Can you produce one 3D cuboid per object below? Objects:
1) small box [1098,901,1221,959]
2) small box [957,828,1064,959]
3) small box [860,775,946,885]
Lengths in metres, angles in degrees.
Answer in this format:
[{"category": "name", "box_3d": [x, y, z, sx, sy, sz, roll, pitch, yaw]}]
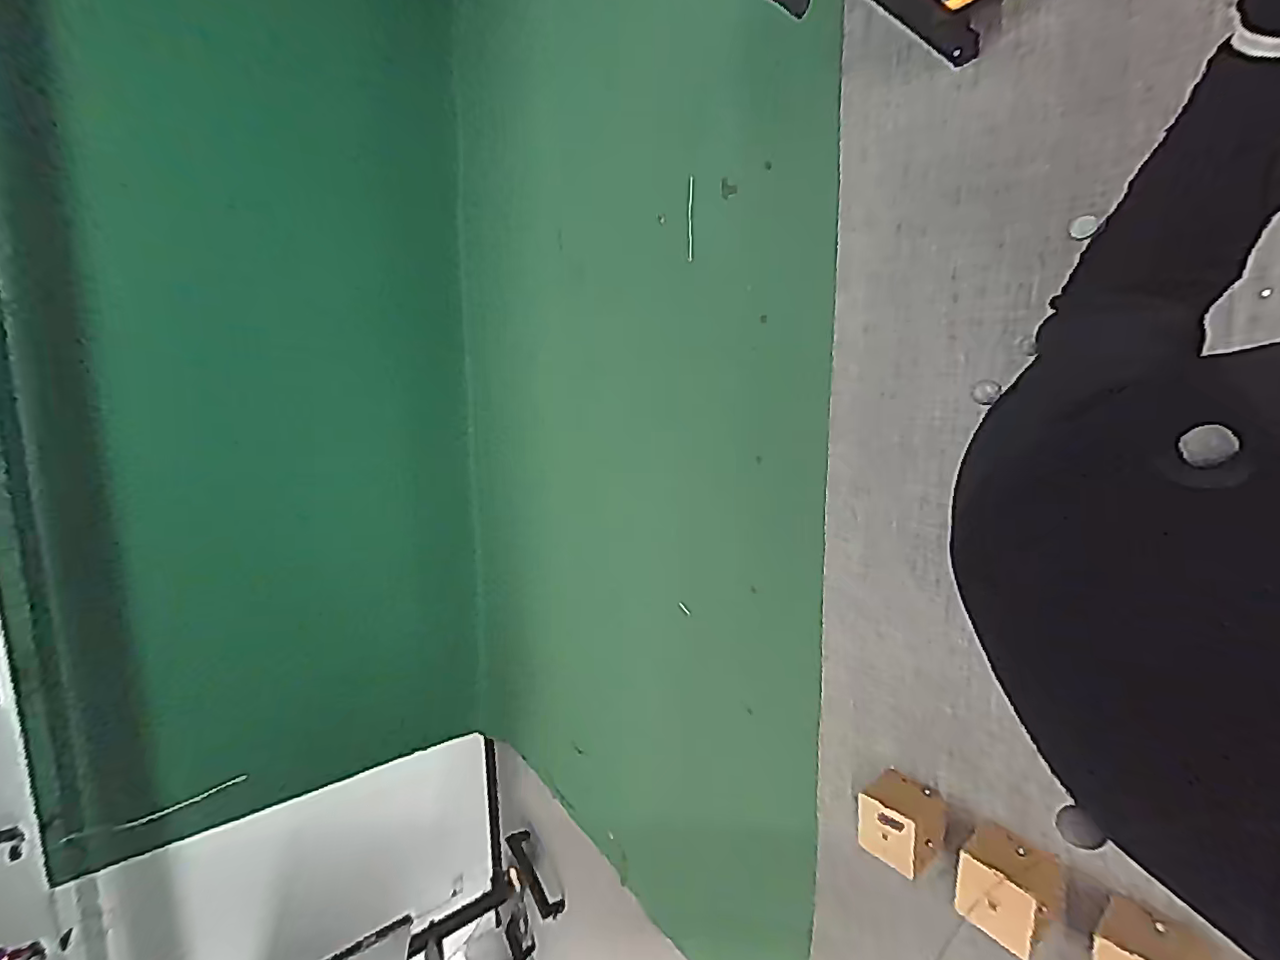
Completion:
[{"category": "small box", "box_3d": [1.072, 1.042, 1.119, 0.168, 0.176, 0.179, 8, 101, 52]}, {"category": "small box", "box_3d": [0.915, 1.016, 1.334, 0.168, 0.176, 0.179, 12, 104, 53]}, {"category": "small box", "box_3d": [0.754, 0.989, 1.548, 0.168, 0.176, 0.179, 7, 100, 53]}]
